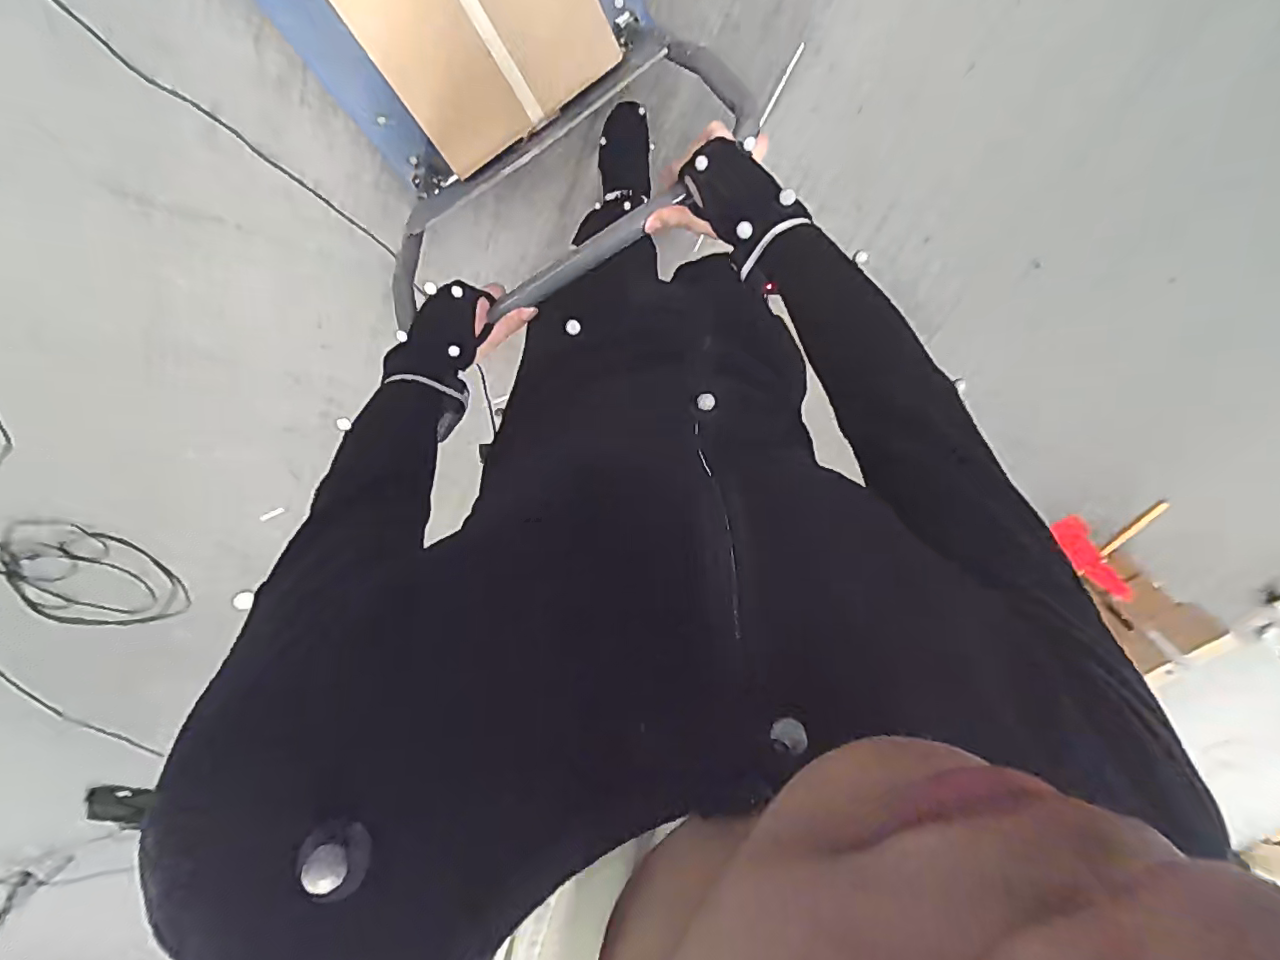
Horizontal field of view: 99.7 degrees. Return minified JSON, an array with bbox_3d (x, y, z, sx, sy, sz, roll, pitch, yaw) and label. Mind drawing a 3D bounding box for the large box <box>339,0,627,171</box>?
[{"bbox_3d":[-0.265,-0.771,0.814,0.320,0.320,0.408,-29,129,12],"label":"large box"}]
